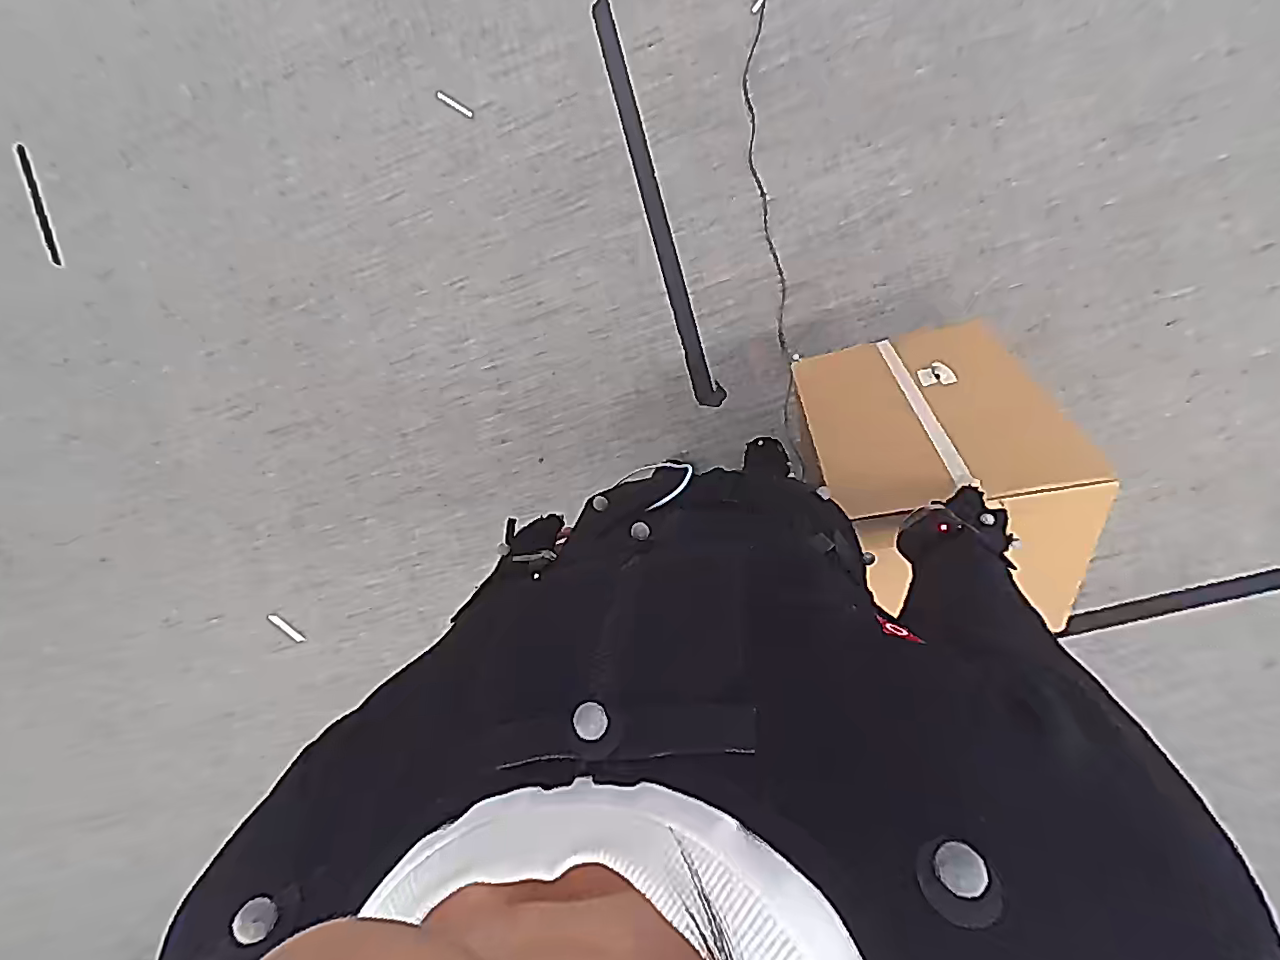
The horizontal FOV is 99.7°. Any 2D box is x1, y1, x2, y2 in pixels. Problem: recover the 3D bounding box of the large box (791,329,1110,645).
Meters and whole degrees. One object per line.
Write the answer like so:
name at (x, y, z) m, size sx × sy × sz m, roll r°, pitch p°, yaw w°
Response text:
large box at (0.460, 0.006, 0.906) m, size 0.320 × 0.408 × 0.320 m, roll -10°, pitch 129°, yaw 12°
